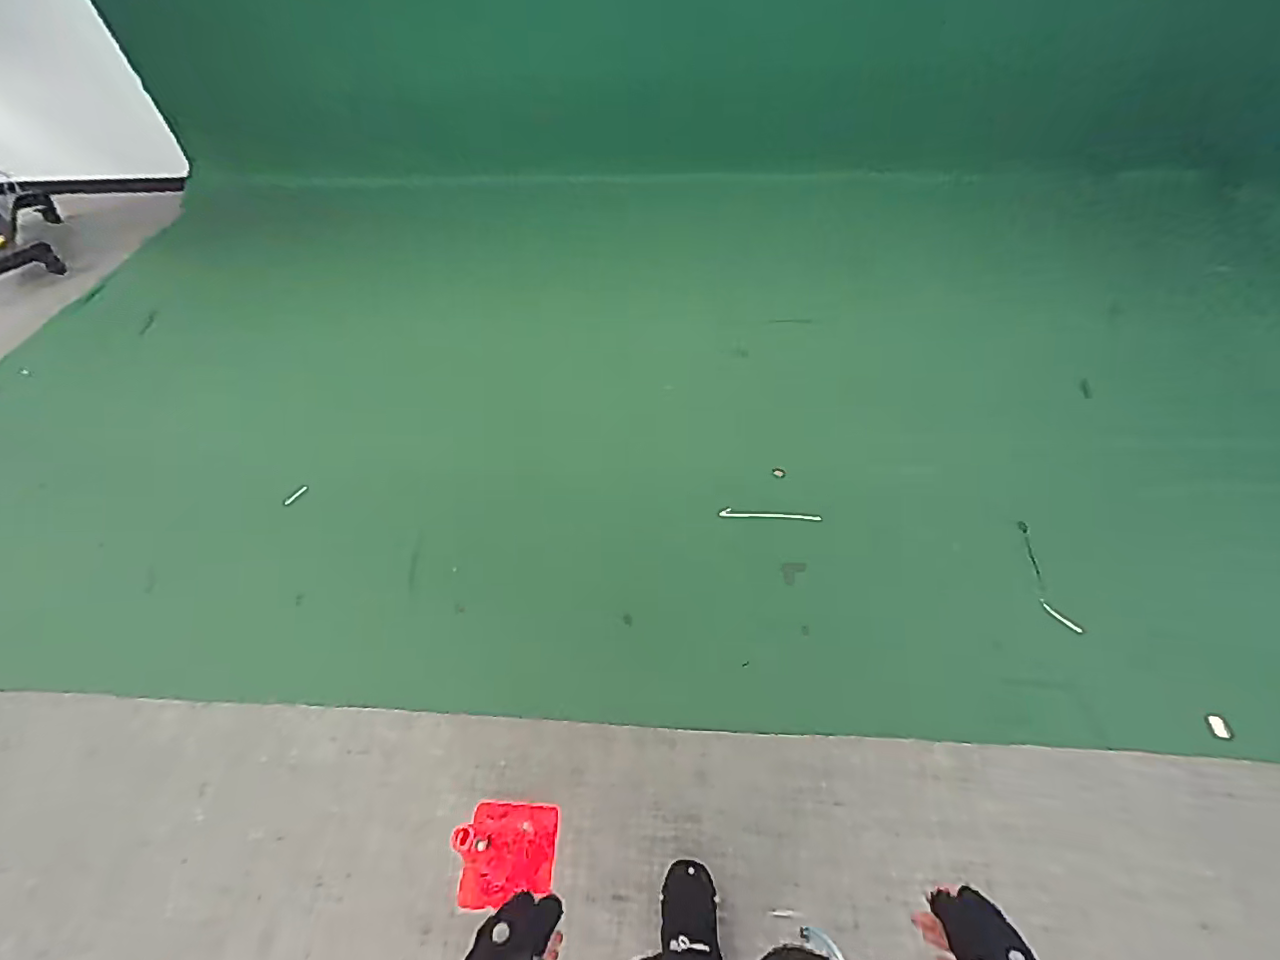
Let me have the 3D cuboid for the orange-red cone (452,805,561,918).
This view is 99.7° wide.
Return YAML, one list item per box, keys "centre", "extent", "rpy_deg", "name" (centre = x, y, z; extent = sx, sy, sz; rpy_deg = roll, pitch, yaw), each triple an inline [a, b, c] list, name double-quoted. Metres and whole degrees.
- centre: [-0.292, 0.736, 1.065]
  extent: [0.198, 0.360, 0.199]
  rpy_deg: [1, 52, 5]
  name: "orange-red cone"
